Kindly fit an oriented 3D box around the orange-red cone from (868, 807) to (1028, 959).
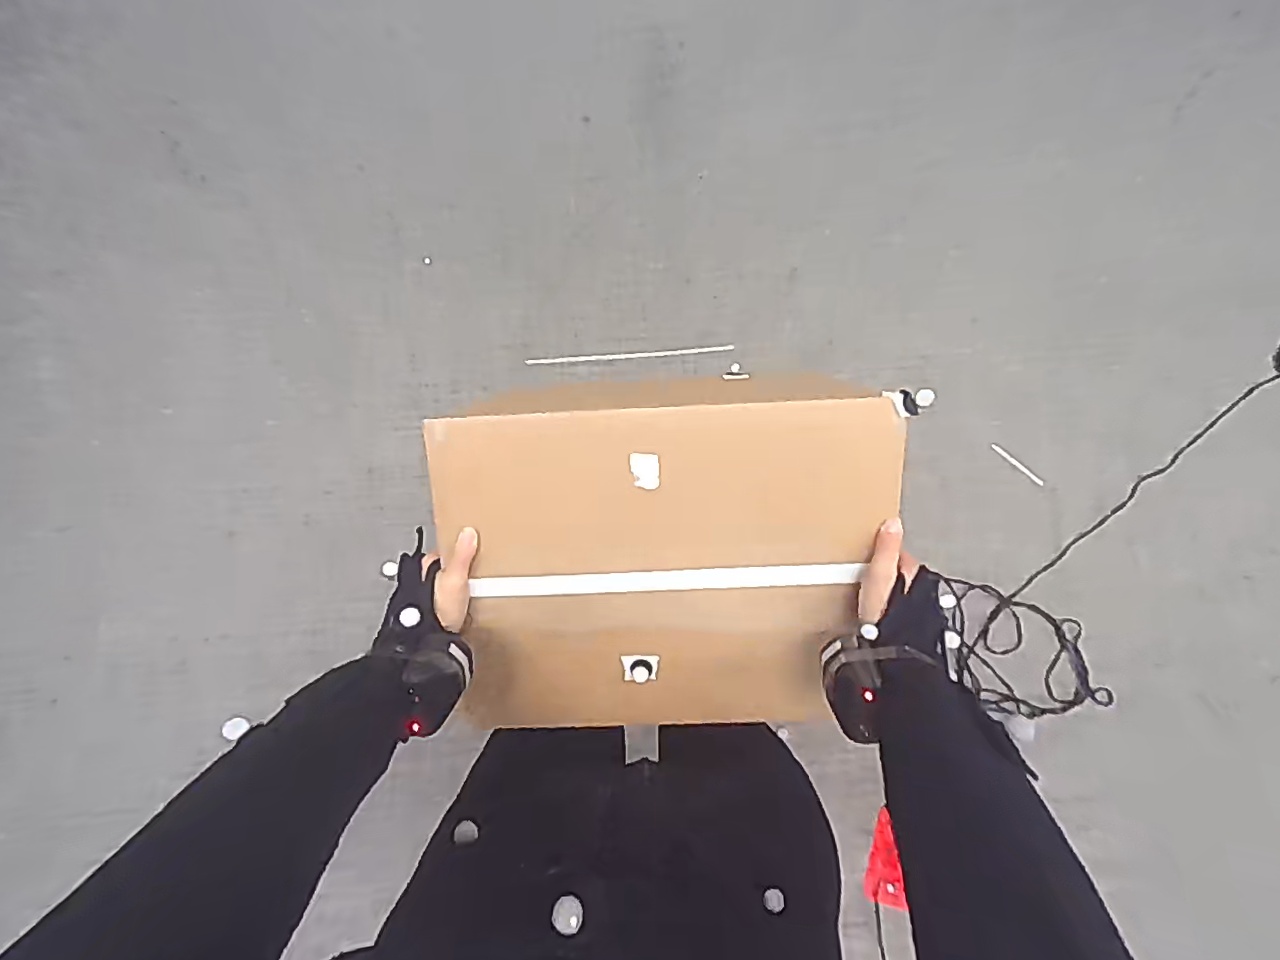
[{"bbox_3d":[0.584,0.776,0.942,0.199,0.360,0.198,16,85,1],"label":"orange-red cone"}]
